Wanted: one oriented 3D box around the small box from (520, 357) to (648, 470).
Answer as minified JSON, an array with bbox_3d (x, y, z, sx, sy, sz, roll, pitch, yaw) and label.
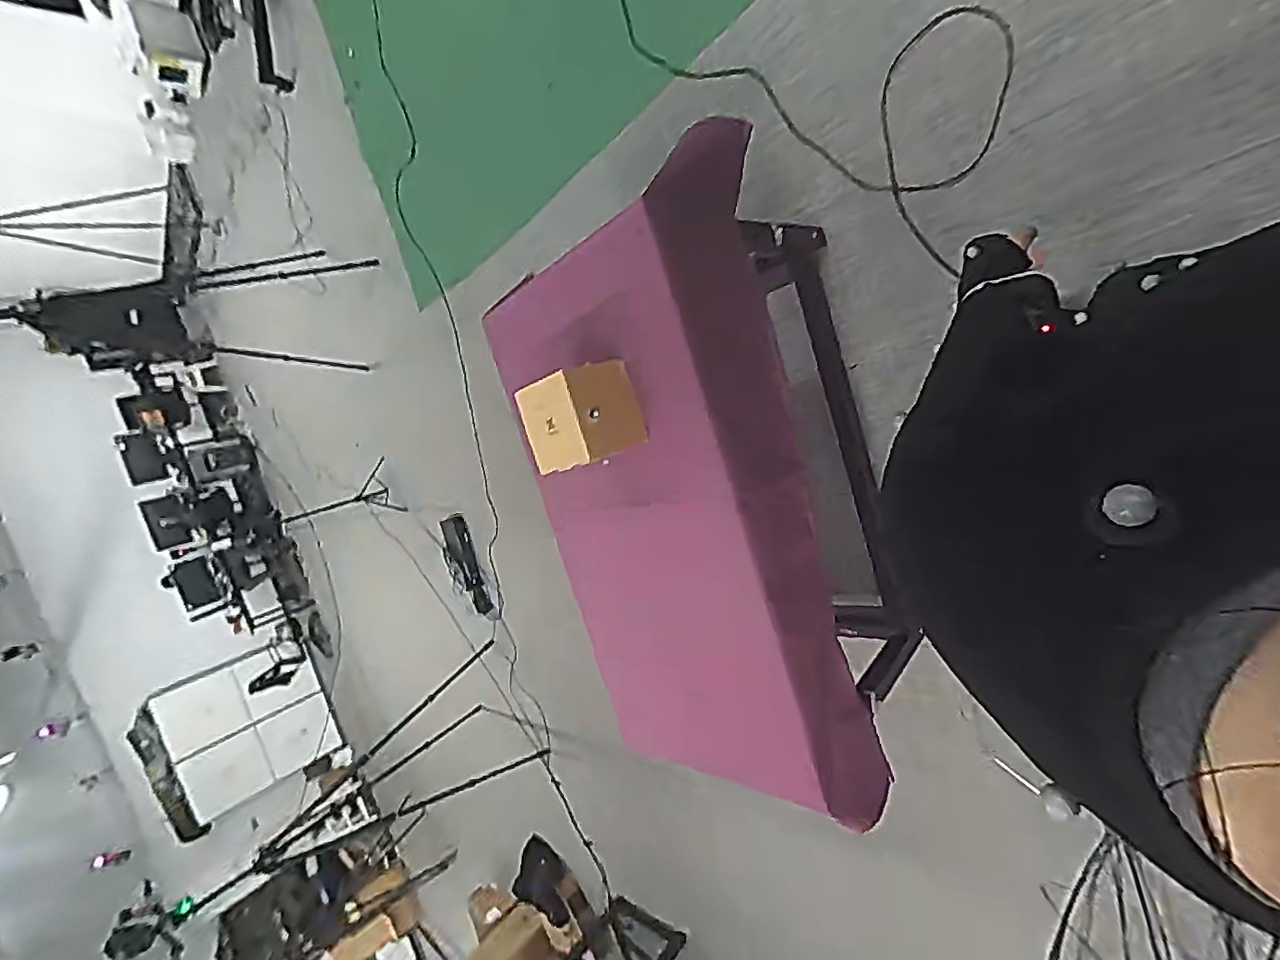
[{"bbox_3d":[-0.107,-0.133,1.091,0.168,0.176,0.179,-11,99,46],"label":"small box"}]
